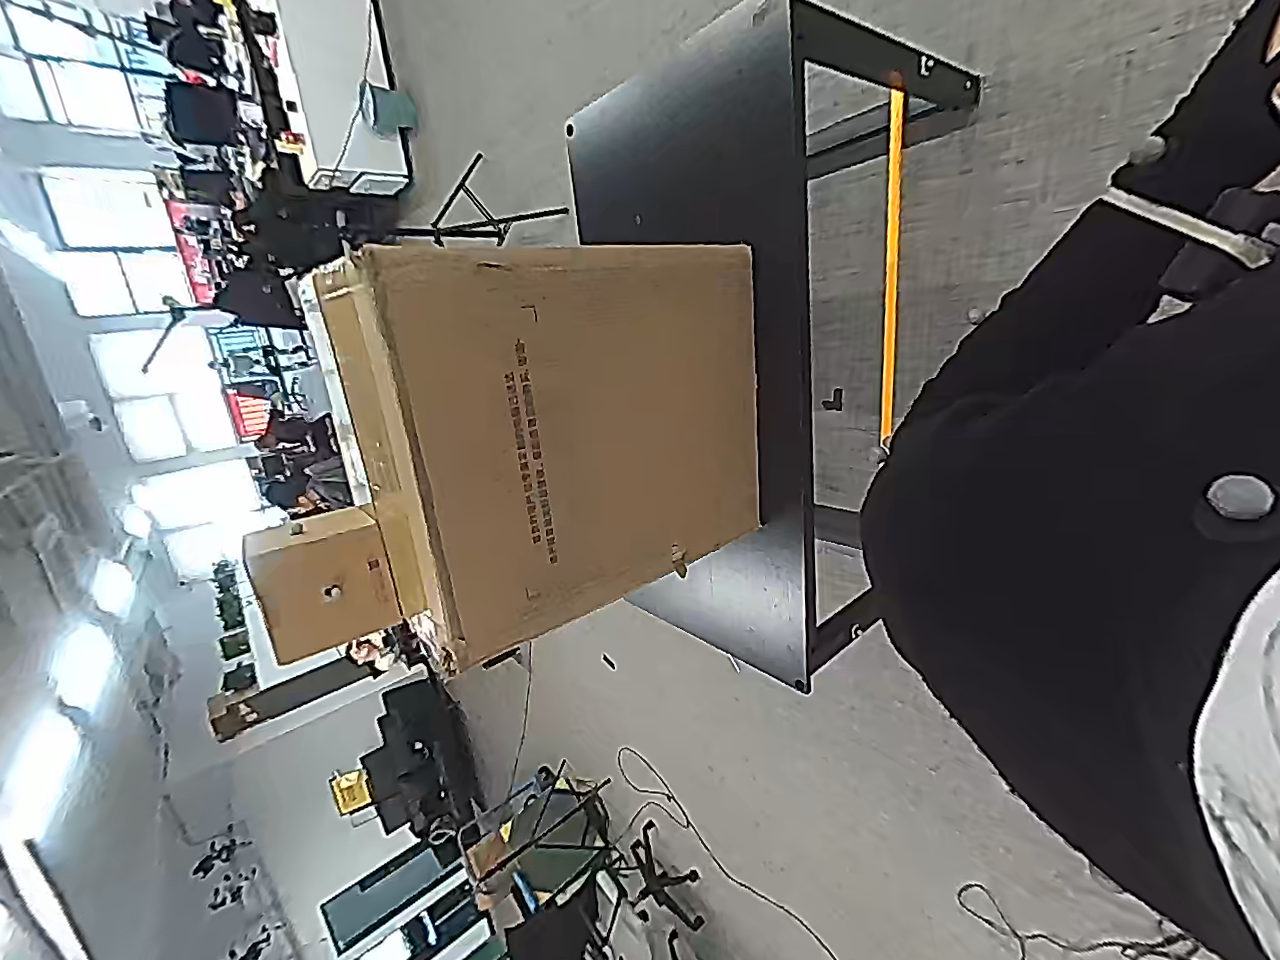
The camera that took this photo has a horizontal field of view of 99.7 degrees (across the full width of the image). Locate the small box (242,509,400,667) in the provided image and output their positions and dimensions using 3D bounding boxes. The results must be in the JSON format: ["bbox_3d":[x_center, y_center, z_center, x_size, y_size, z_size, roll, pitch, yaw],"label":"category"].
[{"bbox_3d":[-0.488,0.152,0.837,0.179,0.176,0.168,10,112,52],"label":"small box"}]
